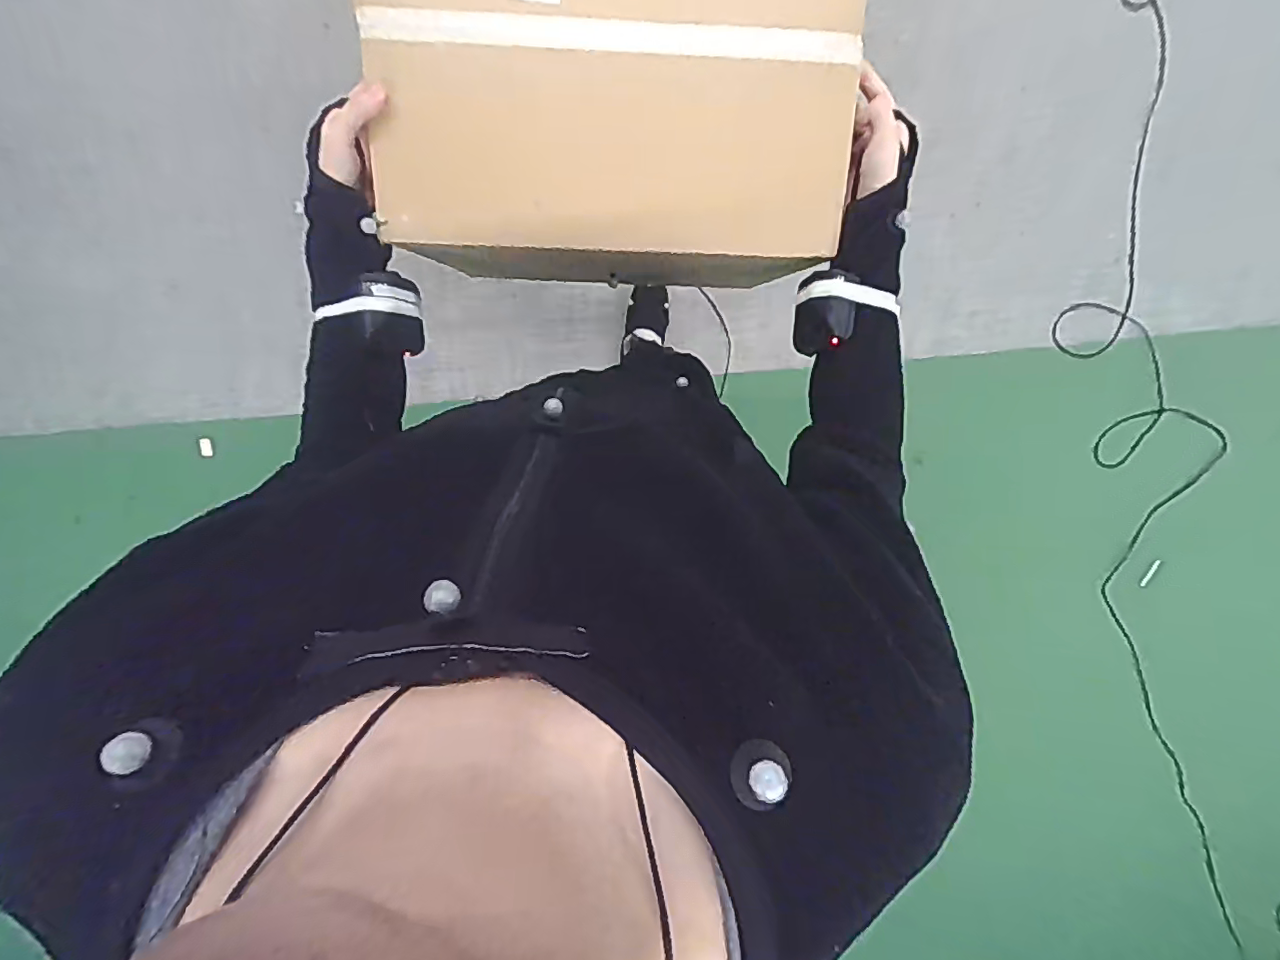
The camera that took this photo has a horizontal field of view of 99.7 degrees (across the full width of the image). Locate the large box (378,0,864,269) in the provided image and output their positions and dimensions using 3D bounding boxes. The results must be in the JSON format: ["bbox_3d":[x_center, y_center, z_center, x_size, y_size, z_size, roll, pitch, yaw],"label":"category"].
[{"bbox_3d":[-0.017,-0.408,0.588,0.408,0.320,0.320,1,105,-2],"label":"large box"}]
